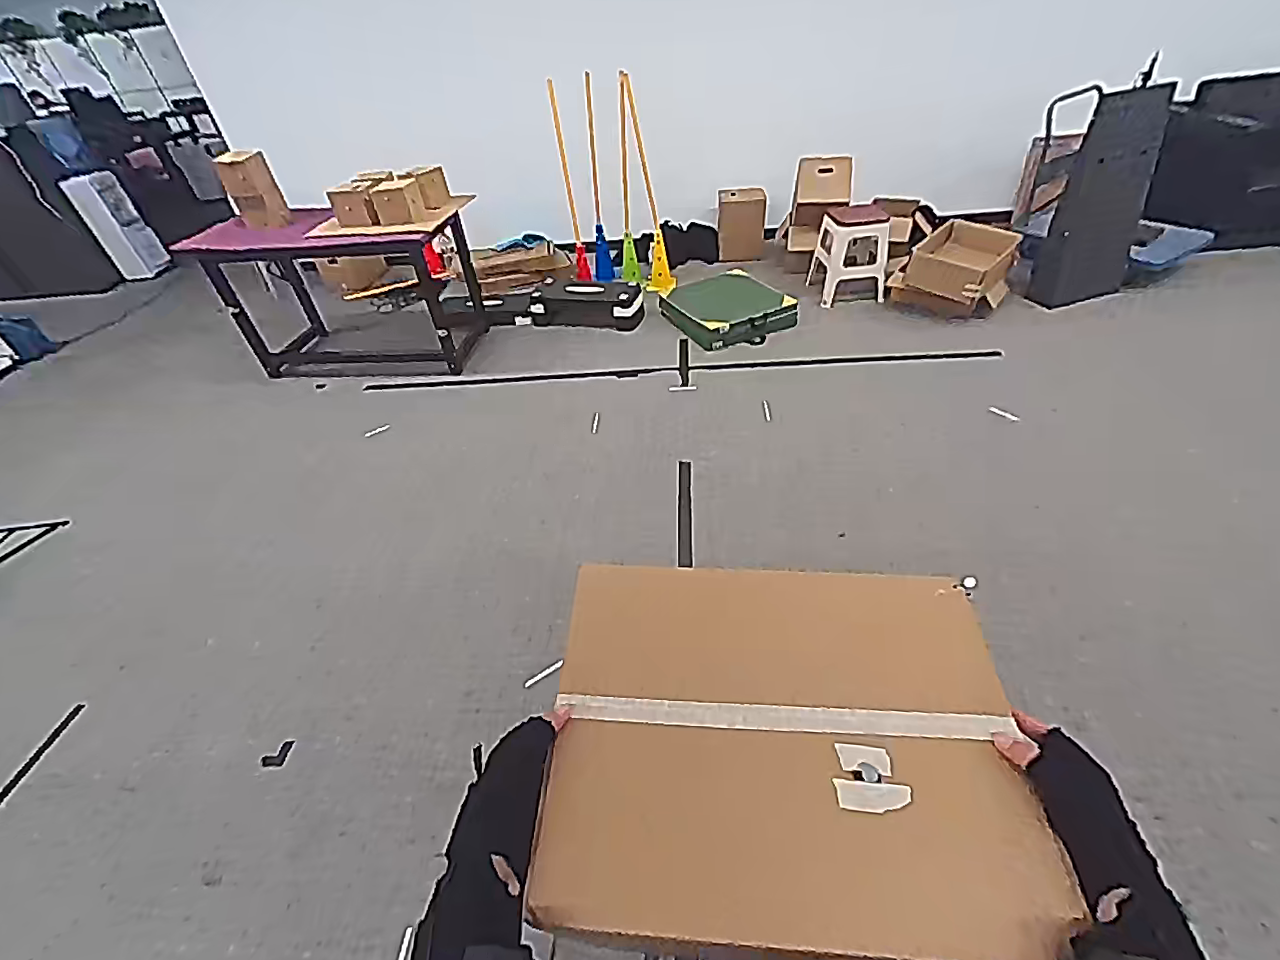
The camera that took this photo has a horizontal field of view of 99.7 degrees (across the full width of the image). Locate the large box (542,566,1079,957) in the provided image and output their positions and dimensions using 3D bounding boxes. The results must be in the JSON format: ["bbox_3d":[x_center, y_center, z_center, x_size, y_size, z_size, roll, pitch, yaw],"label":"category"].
[{"bbox_3d":[0.135,0.315,0.609,0.408,0.320,0.320,1,48,5],"label":"large box"}]
